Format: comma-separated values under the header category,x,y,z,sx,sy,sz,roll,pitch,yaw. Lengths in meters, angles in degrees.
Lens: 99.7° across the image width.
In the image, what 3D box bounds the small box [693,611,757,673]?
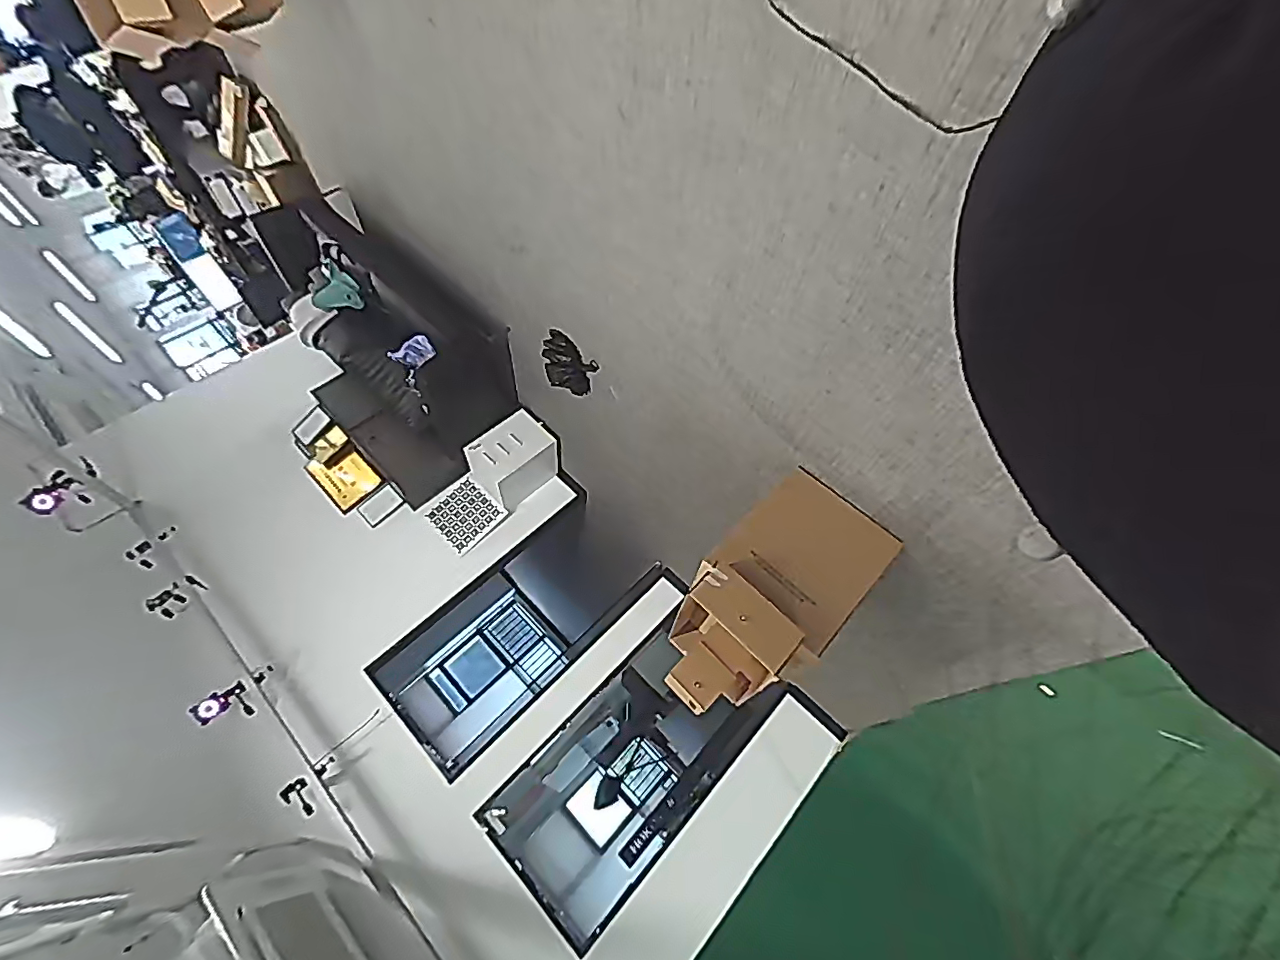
category,x,y,z,sx,sy,sz,roll,pitch,yaw
small box,0.315,0.622,2.057,0.179,0.176,0.168,43,157,20

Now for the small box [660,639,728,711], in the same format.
category,x,y,z,sx,sy,sz,roll,pitch,yaw
small box,0.198,0.717,1.990,0.179,0.176,0.168,44,156,17
